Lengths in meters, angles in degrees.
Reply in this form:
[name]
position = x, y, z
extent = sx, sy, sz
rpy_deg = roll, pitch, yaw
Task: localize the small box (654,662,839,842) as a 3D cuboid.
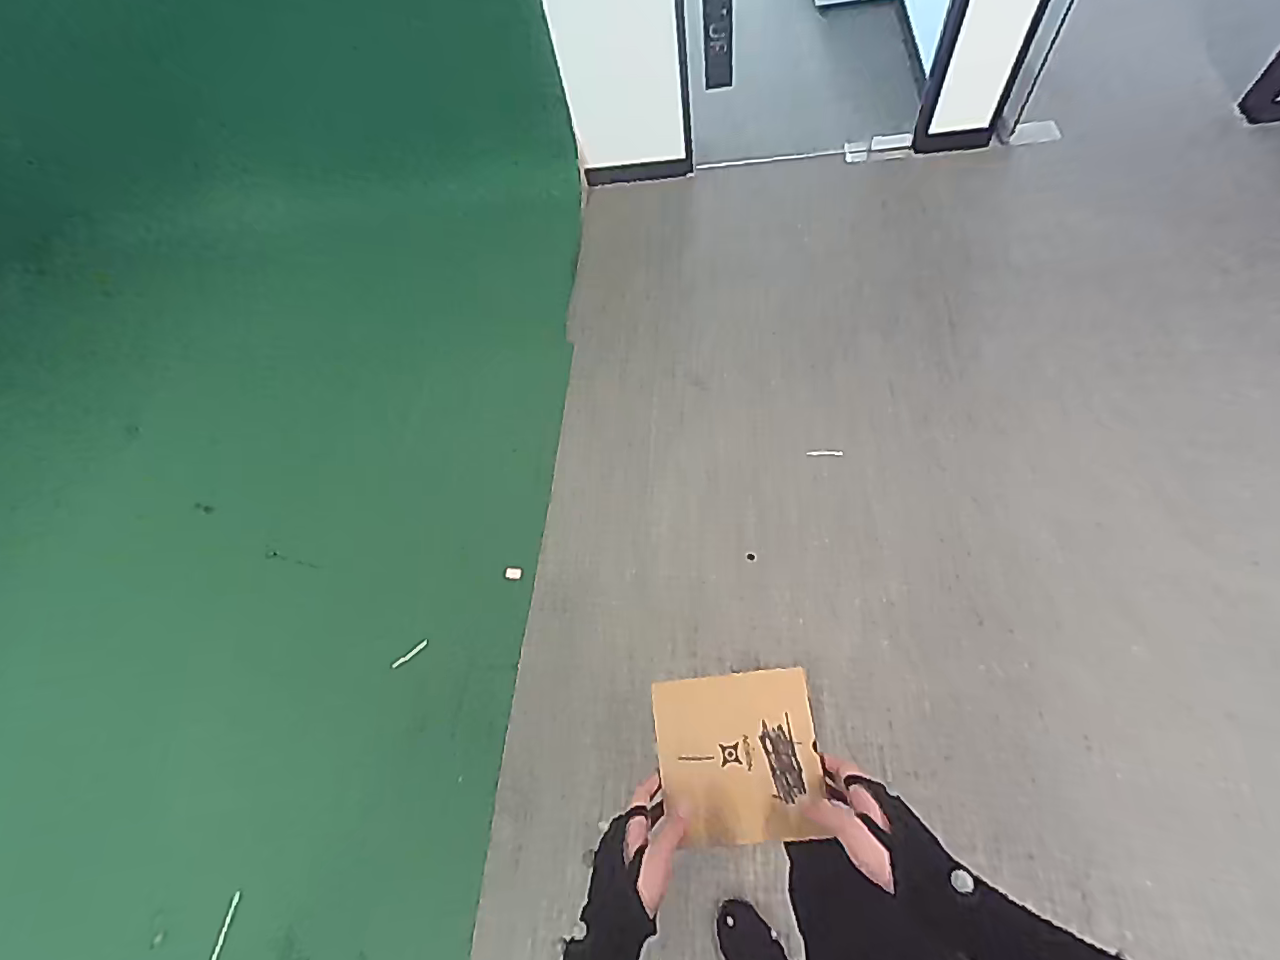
[small box]
position = 0.116, 0.312, 0.645
extent = 0.179, 0.176, 0.168
rpy_deg = -8, 67, 6
